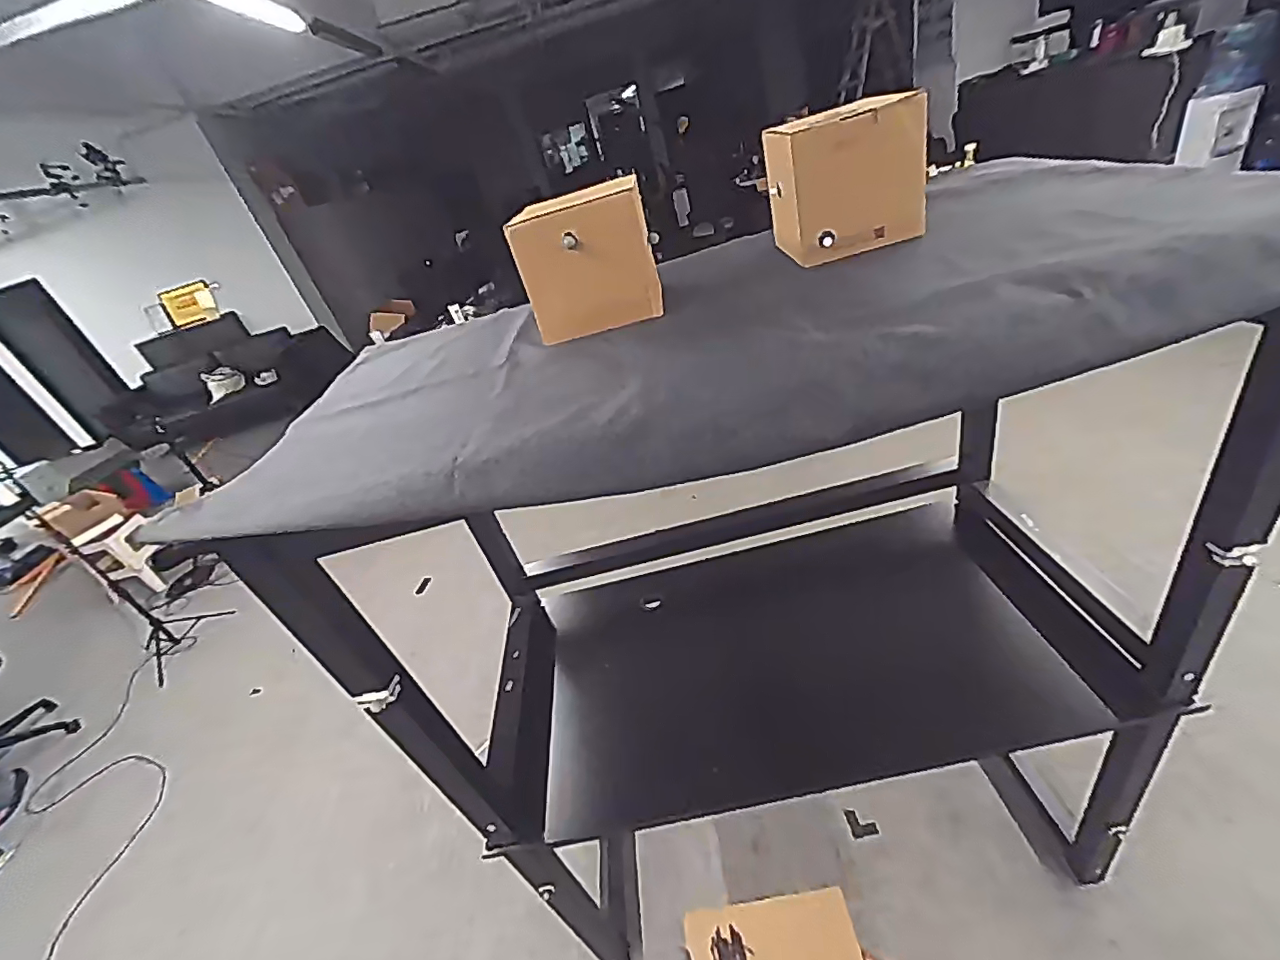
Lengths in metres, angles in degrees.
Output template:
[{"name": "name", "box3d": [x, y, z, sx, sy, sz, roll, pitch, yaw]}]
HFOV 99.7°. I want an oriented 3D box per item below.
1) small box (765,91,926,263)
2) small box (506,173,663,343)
[{"name": "small box", "box3d": [0.286, -0.423, 0.767, 0.168, 0.176, 0.179, -13, 32, 7]}, {"name": "small box", "box3d": [-0.066, -0.321, 0.784, 0.179, 0.176, 0.168, -12, 33, 9]}]
